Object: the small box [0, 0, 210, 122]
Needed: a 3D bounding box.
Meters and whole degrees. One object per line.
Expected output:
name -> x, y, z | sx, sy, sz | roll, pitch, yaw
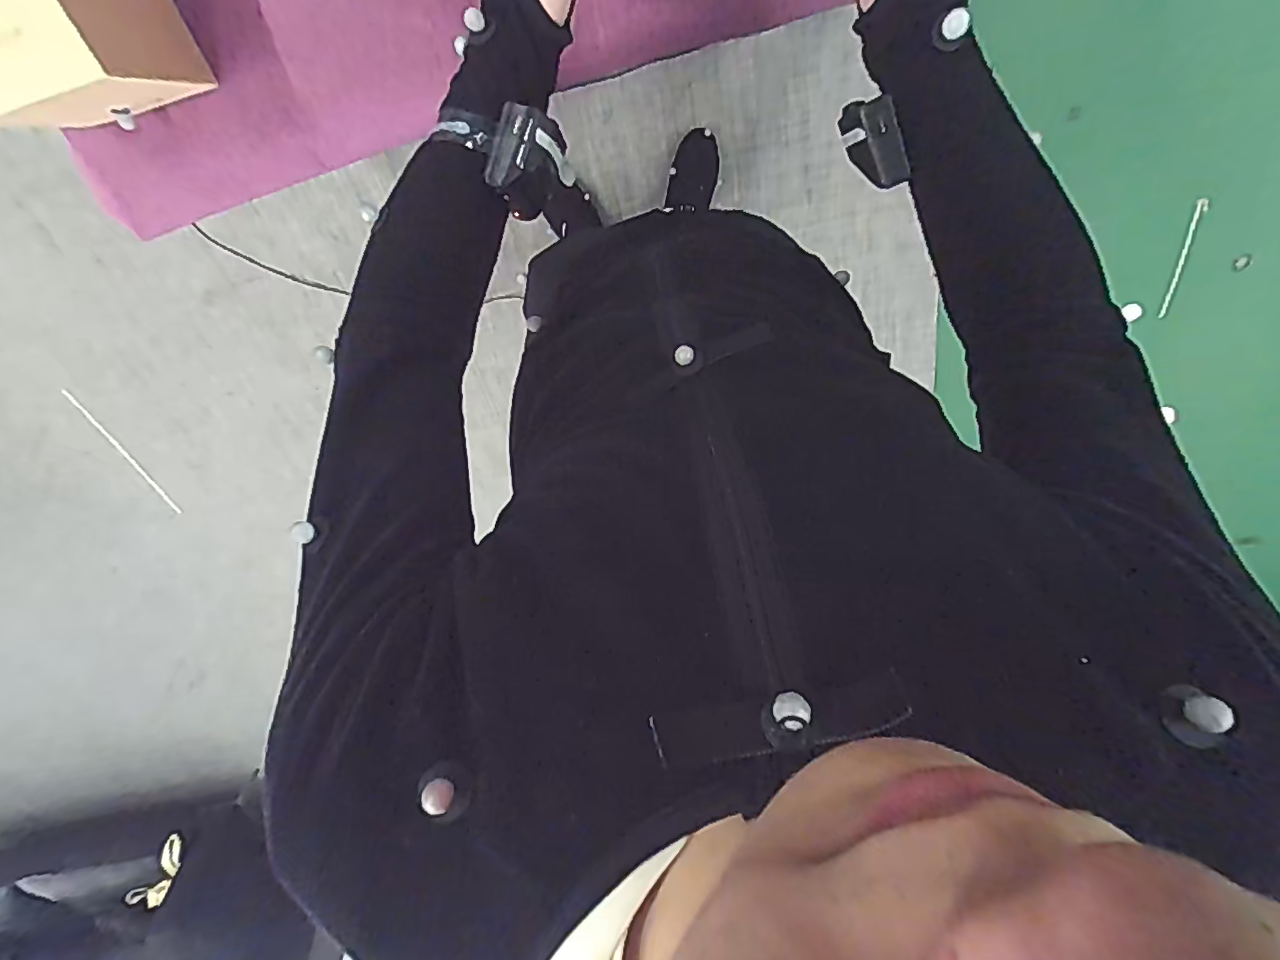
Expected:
small box -> -0.579, -0.460, 0.513 | 0.168, 0.176, 0.179 | -12, 123, 6
